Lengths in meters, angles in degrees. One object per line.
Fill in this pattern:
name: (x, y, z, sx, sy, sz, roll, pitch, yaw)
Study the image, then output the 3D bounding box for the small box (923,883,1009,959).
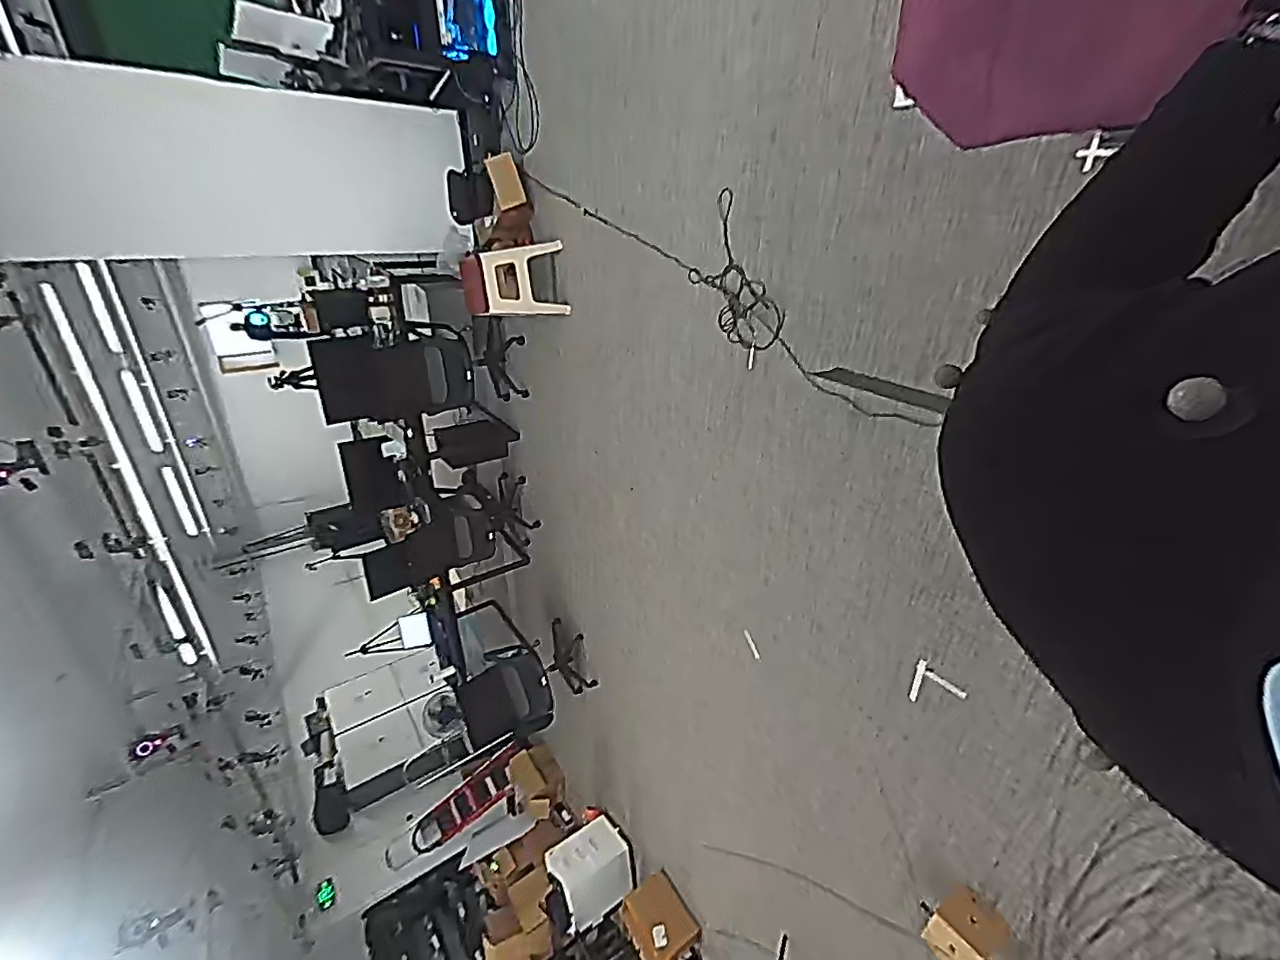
small box: (1.089, 1.505, 1.802, 0.168, 0.176, 0.179, 35, 133, 45)
